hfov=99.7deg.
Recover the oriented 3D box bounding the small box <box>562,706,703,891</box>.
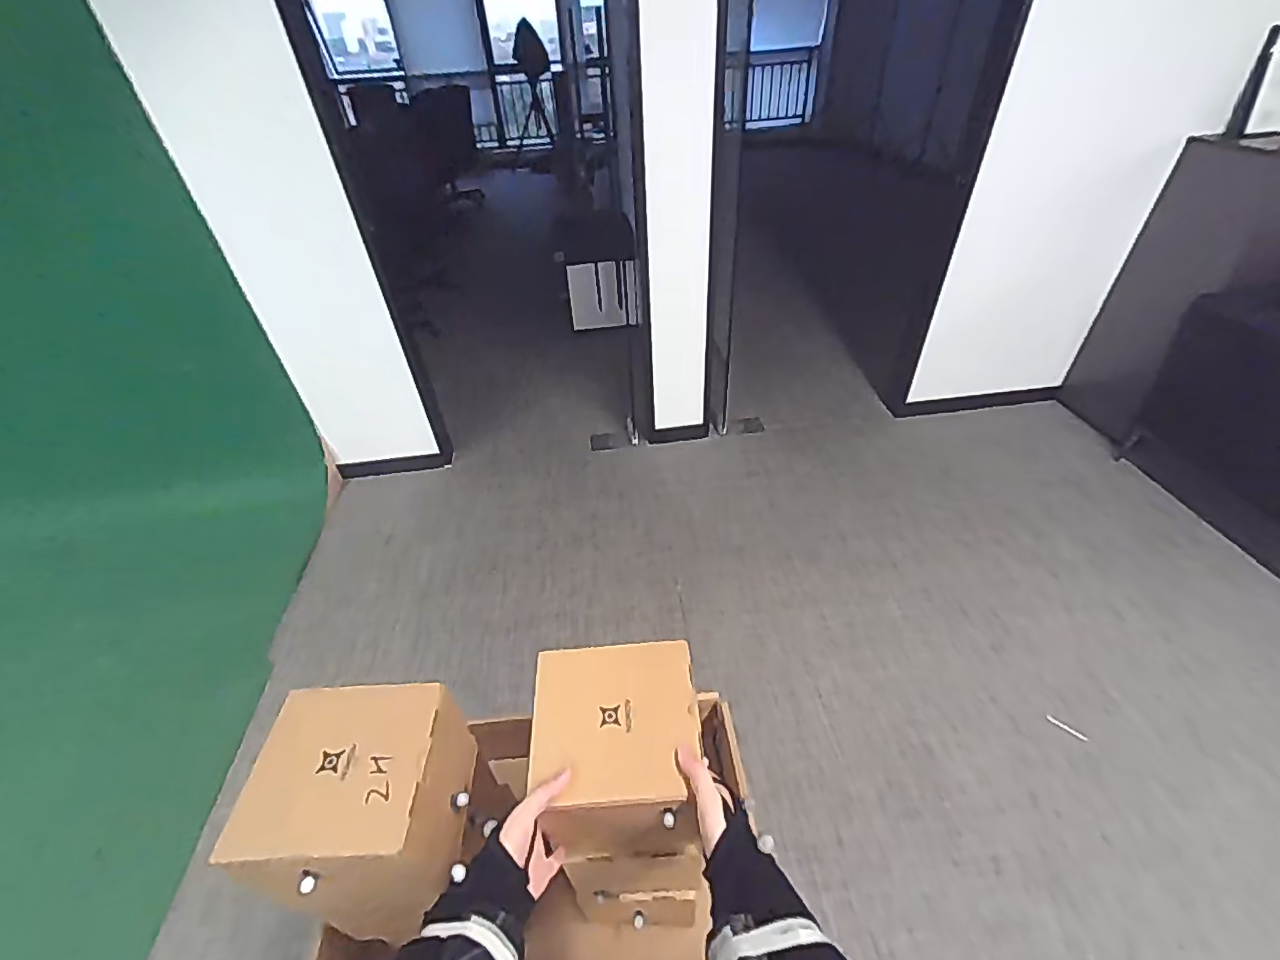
[{"bbox_3d":[-0.005,0.433,0.731,0.168,0.176,0.179,-4,40,1],"label":"small box"}]

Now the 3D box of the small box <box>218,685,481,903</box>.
[{"bbox_3d":[-0.297,0.350,0.602,0.179,0.176,0.168,-3,41,1],"label":"small box"}]

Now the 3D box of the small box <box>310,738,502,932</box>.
[{"bbox_3d":[-0.287,0.470,0.715,0.168,0.176,0.179,-5,40,-1],"label":"small box"}]
